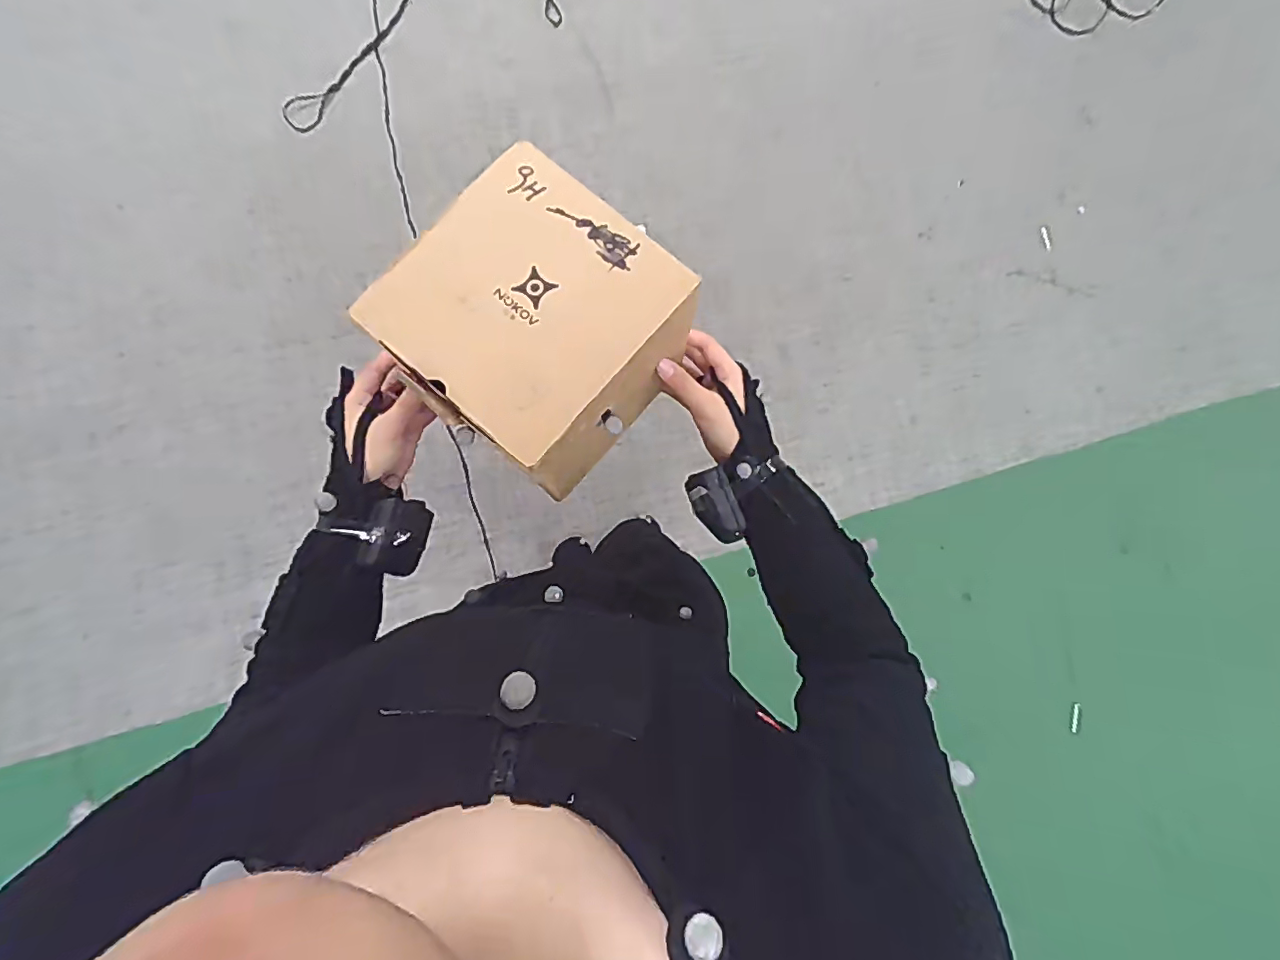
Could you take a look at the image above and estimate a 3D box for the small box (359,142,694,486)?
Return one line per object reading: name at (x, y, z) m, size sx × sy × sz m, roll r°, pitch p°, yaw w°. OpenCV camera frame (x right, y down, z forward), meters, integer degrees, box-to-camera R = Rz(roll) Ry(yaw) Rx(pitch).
small box at (-0.076, -0.114, 0.447) m, size 0.168 × 0.176 × 0.179 m, roll 40°, pitch 83°, yaw 5°
